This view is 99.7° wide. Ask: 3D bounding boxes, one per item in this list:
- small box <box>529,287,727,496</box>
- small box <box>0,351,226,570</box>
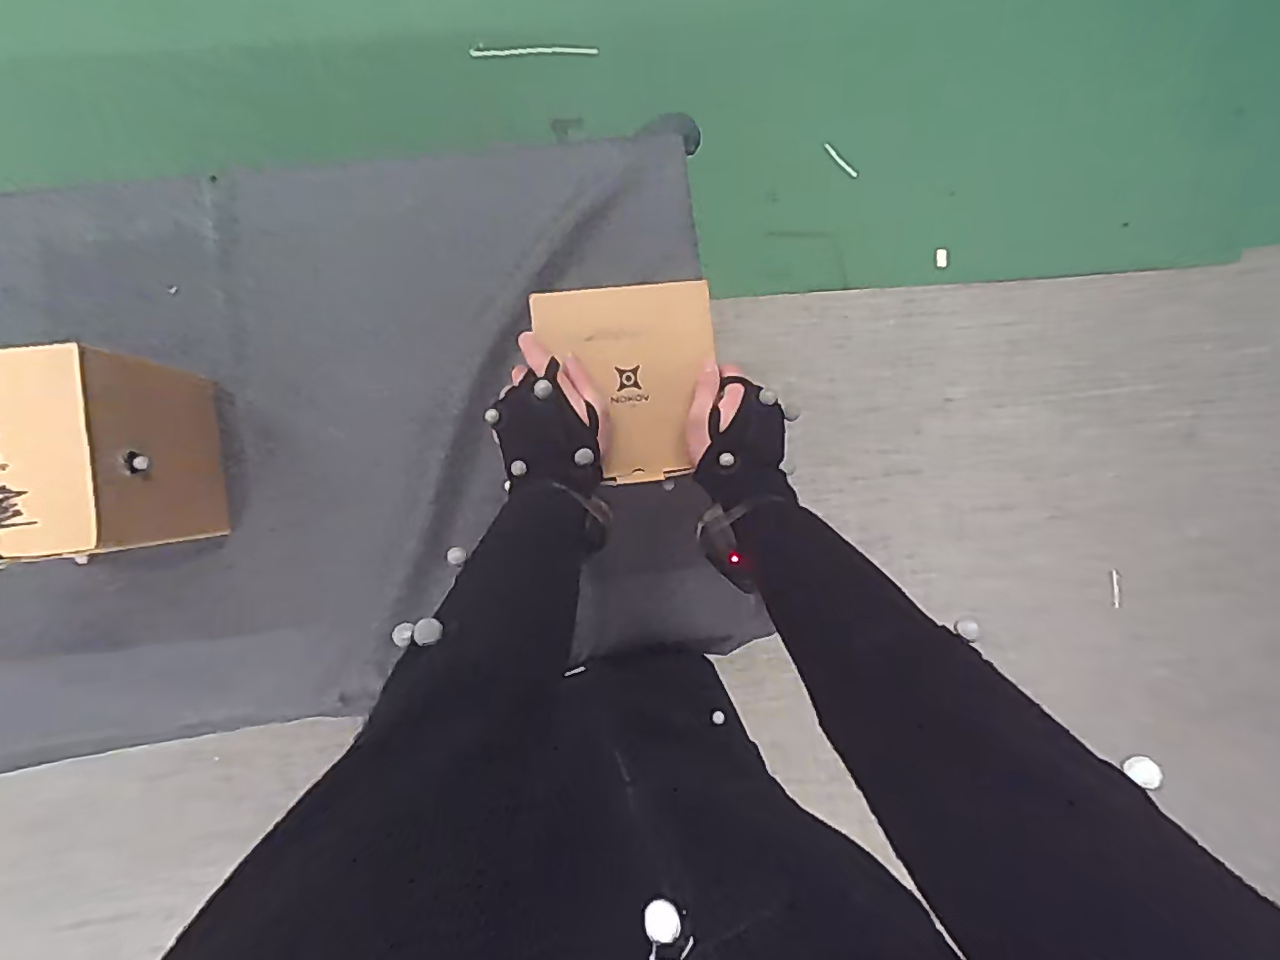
[{"bbox_3d":[-0.017,-0.081,0.567,0.168,0.176,0.179,-7,89,-6],"label":"small box"},{"bbox_3d":[-0.538,-0.013,0.518,0.168,0.176,0.179,-6,90,-5],"label":"small box"}]
